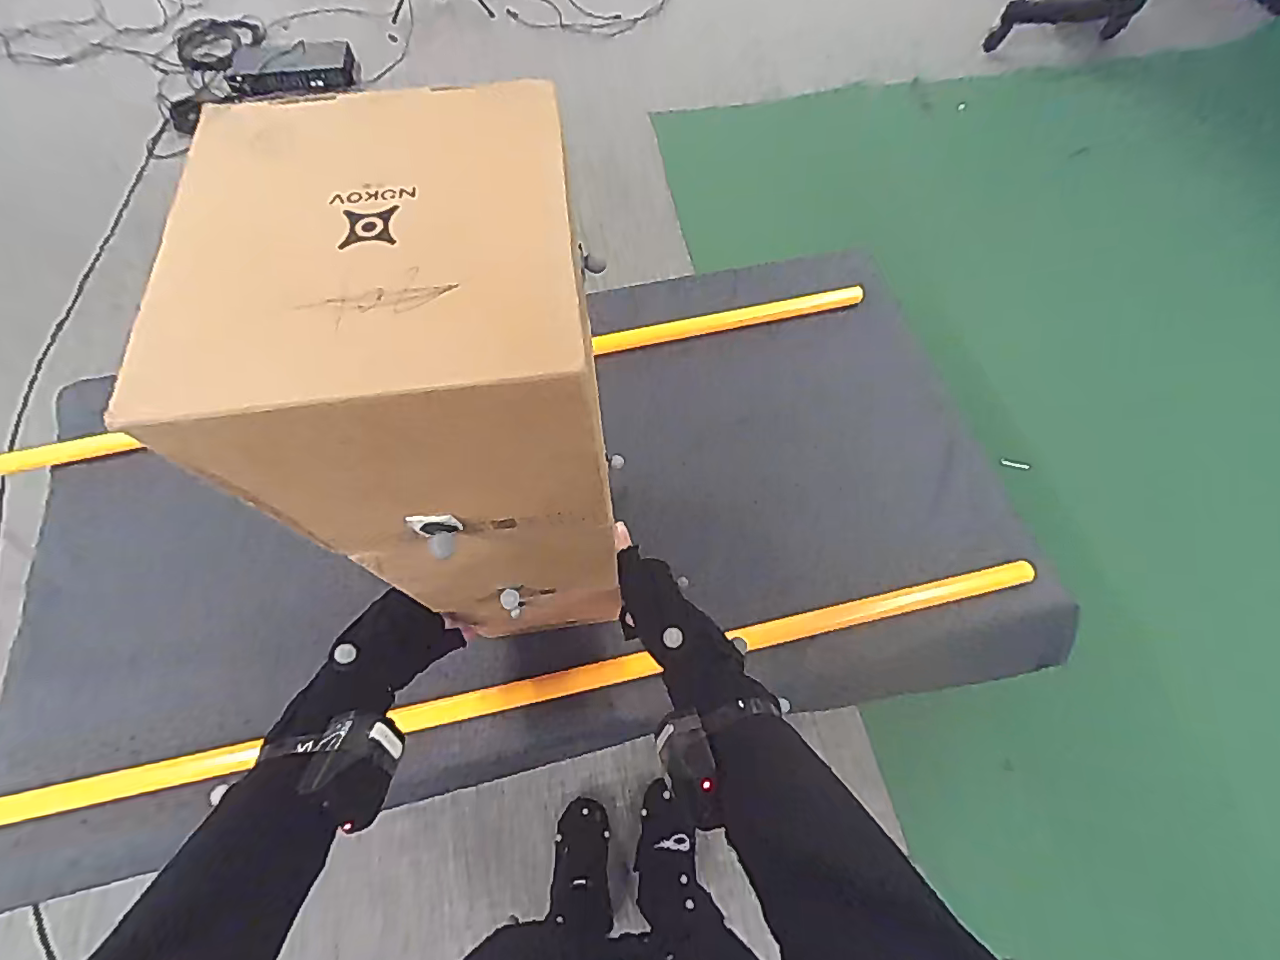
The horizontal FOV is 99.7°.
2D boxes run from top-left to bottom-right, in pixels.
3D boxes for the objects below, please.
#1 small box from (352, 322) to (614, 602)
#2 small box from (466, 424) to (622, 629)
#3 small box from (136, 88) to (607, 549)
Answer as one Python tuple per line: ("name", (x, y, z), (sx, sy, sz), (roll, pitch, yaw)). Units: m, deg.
("small box", (-0.113, -0.010, 0.453), (0.168, 0.176, 0.179), (-7, 66, -4))
("small box", (-0.111, 0.055, 0.605), (0.168, 0.176, 0.179), (-7, 66, -4))
("small box", (-0.112, -0.075, 0.305), (0.168, 0.176, 0.179), (-8, 67, -3))
